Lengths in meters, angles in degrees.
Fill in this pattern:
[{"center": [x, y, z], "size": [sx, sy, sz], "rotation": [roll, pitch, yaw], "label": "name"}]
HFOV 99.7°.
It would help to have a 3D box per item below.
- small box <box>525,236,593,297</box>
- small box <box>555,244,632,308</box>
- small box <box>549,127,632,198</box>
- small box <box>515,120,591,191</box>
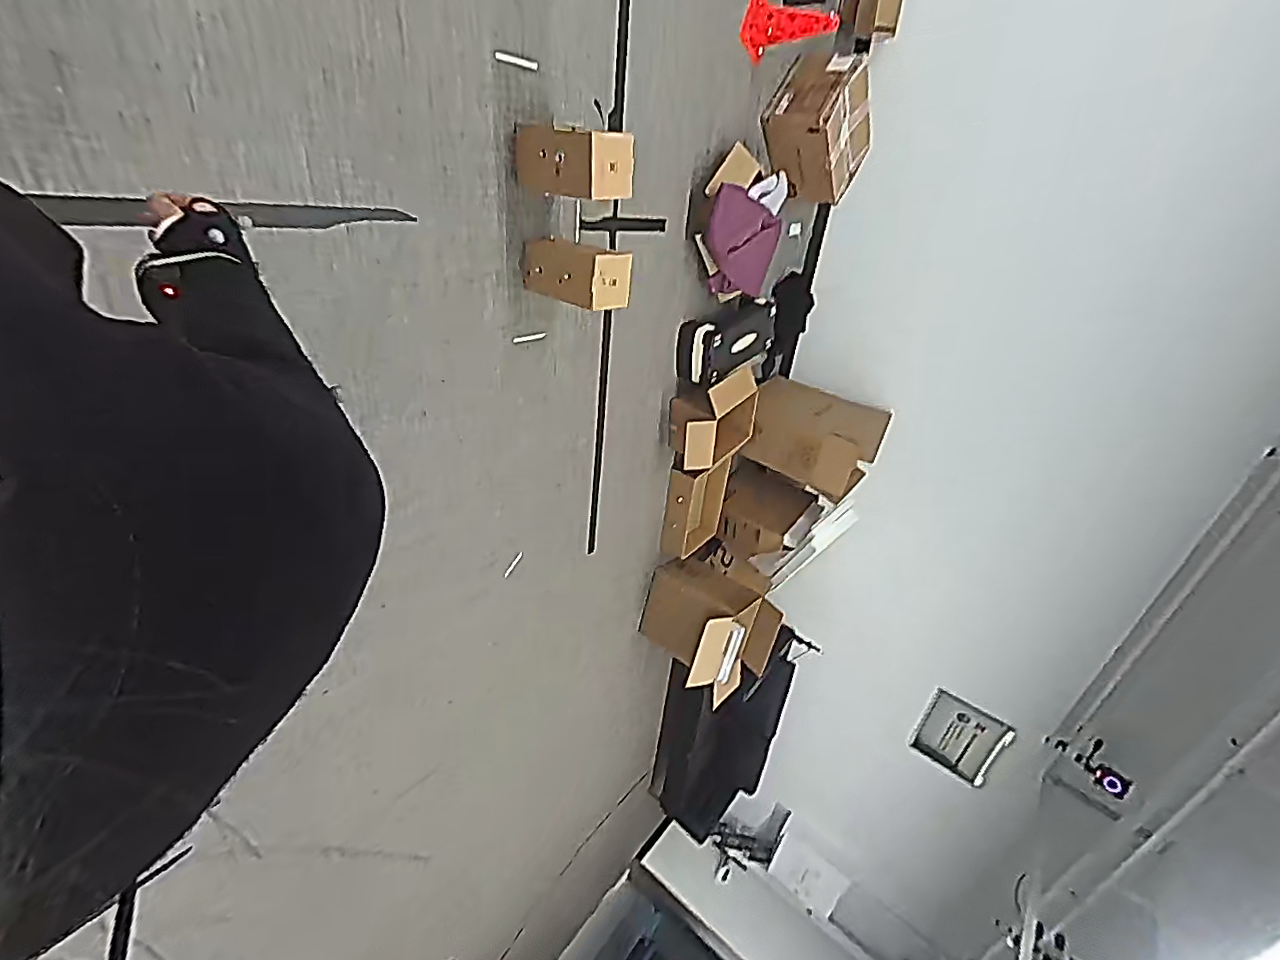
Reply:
[{"center": [-0.276, -0.727, 1.838], "size": [0.179, 0.176, 0.168], "rotation": [-27, 134, -44], "label": "small box"}, {"center": [-0.153, -0.663, 1.746], "size": [0.179, 0.176, 0.168], "rotation": [-26, 133, -45], "label": "small box"}, {"center": [-0.144, -0.921, 1.568], "size": [0.179, 0.176, 0.168], "rotation": [-31, 135, -40], "label": "small box"}, {"center": [-0.266, -0.988, 1.651], "size": [0.168, 0.176, 0.179], "rotation": [-30, 136, -43], "label": "small box"}]
